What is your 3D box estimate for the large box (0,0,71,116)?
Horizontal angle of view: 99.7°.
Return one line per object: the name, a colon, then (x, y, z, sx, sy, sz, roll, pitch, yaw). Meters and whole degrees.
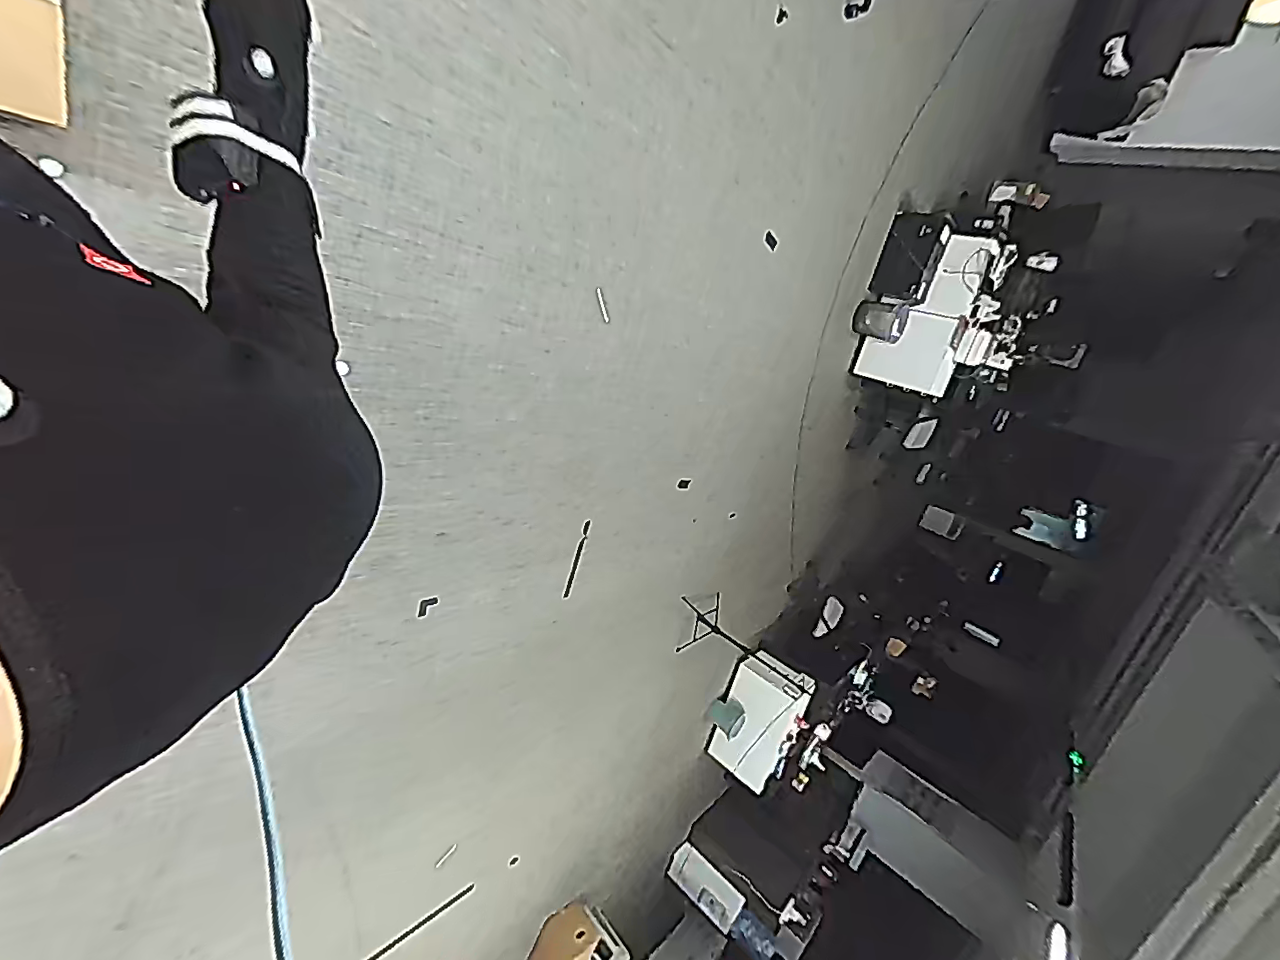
large box: (-0.989, -0.680, 0.633, 0.408, 0.320, 0.320, -7, 118, -51)
